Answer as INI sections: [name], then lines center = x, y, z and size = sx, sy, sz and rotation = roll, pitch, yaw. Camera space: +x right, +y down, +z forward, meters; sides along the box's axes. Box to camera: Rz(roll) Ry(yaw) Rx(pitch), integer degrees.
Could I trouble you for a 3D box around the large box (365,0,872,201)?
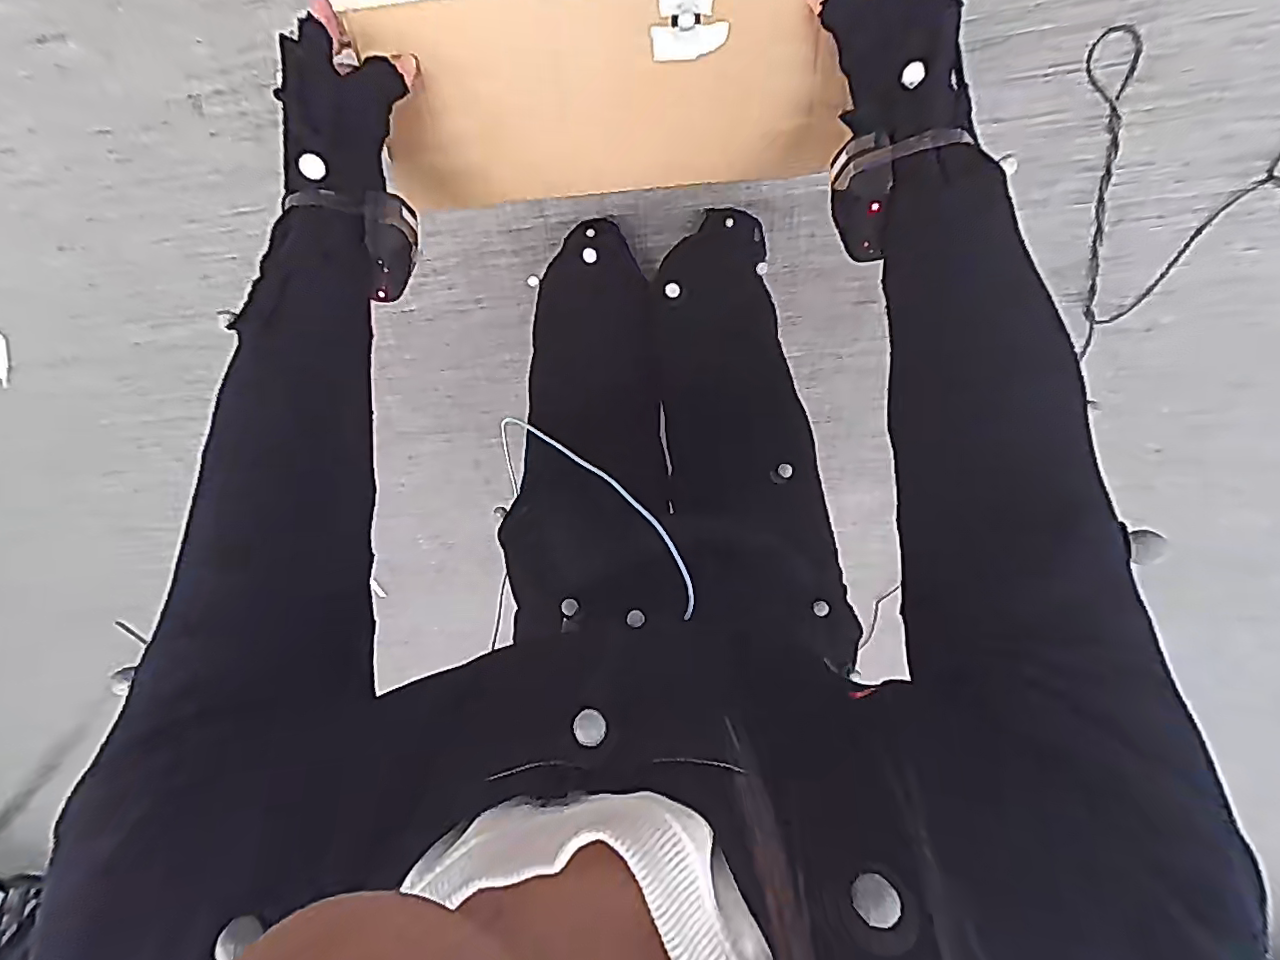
[large box]
center = -0.017, -0.490, 0.521
size = 0.408, 0.320, 0.320
rotation = -3, 128, 7
